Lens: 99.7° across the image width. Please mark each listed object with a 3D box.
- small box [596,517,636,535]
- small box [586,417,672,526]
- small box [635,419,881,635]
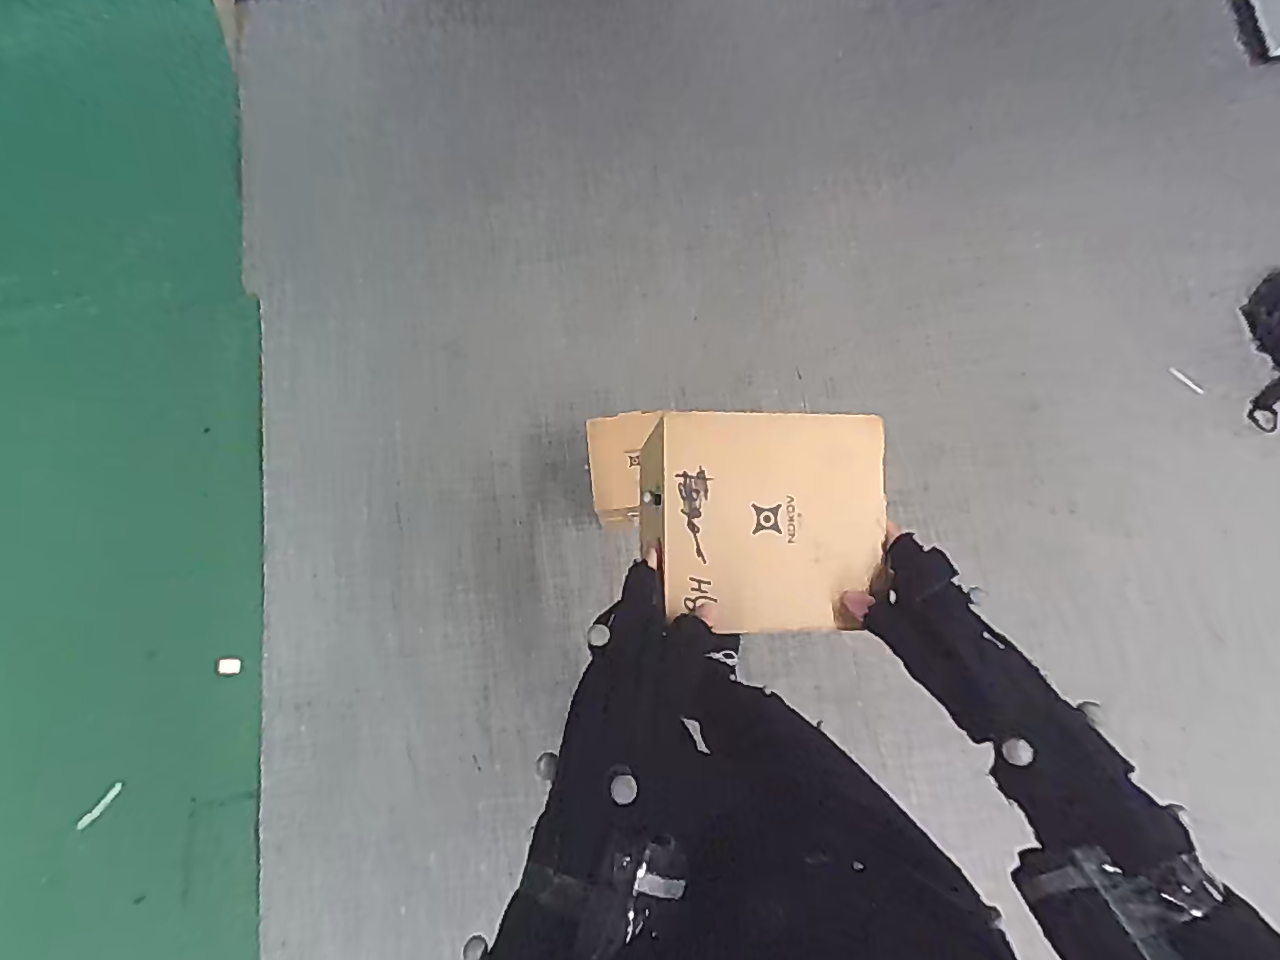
[{"bbox_3d":[-0.012,0.031,1.239,0.179,0.176,0.168,-6,80,-2],"label":"small box"},{"bbox_3d":[-0.011,-0.010,1.065,0.168,0.176,0.179,-7,81,0],"label":"small box"},{"bbox_3d":[0.092,0.044,0.495,0.179,0.176,0.168,1,83,-7],"label":"small box"}]
